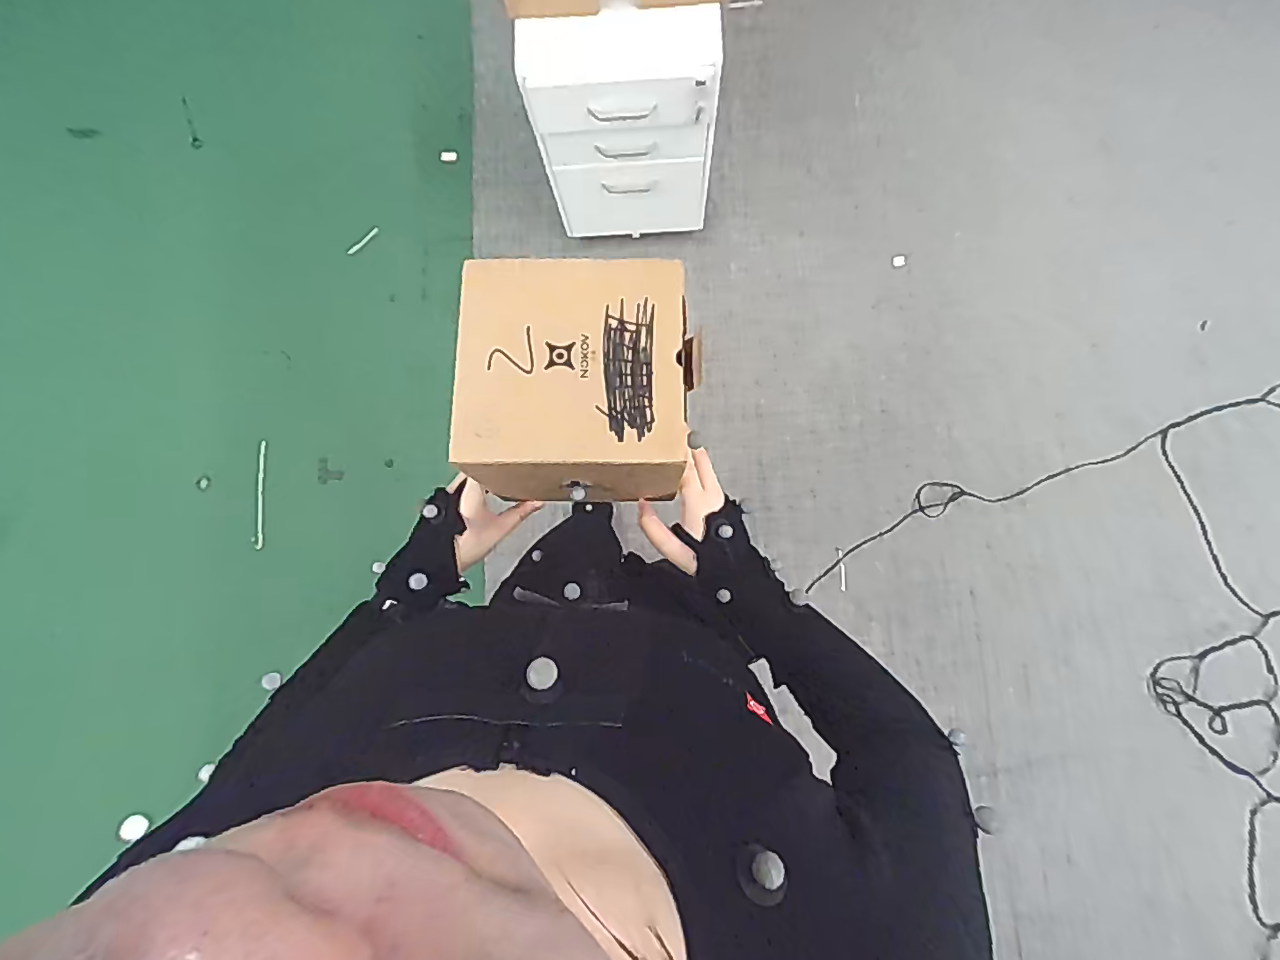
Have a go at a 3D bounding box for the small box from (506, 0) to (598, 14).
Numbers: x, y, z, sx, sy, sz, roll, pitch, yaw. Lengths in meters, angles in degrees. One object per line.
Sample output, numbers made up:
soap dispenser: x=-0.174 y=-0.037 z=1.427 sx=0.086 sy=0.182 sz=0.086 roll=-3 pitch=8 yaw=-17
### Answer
small box: x=-0.171 y=-0.977 z=0.960 sx=0.179 sy=0.176 sz=0.168 roll=-1 pitch=84 yaw=2

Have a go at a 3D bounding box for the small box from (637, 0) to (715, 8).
small box: x=0.075 y=-0.988 z=0.953 sx=0.179 sy=0.176 sz=0.168 roll=-2 pitch=82 yaw=4
